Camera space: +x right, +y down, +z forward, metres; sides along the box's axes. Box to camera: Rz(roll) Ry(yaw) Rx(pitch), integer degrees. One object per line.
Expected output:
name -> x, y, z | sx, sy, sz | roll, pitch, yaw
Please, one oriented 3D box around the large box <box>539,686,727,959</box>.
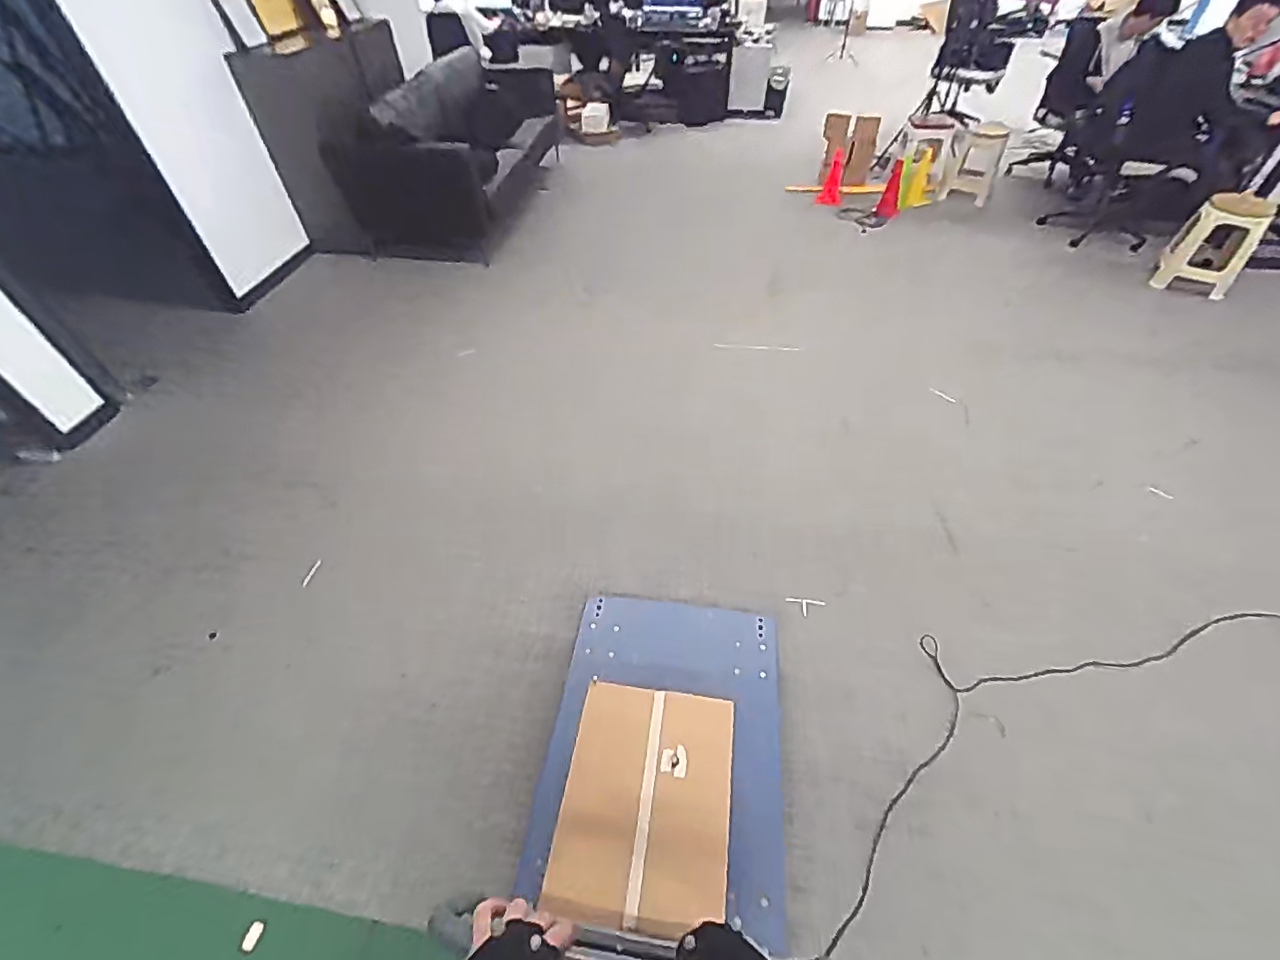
large box -> 0.009, 0.706, 1.126 | 0.320, 0.320, 0.408 | 6, 46, 6
